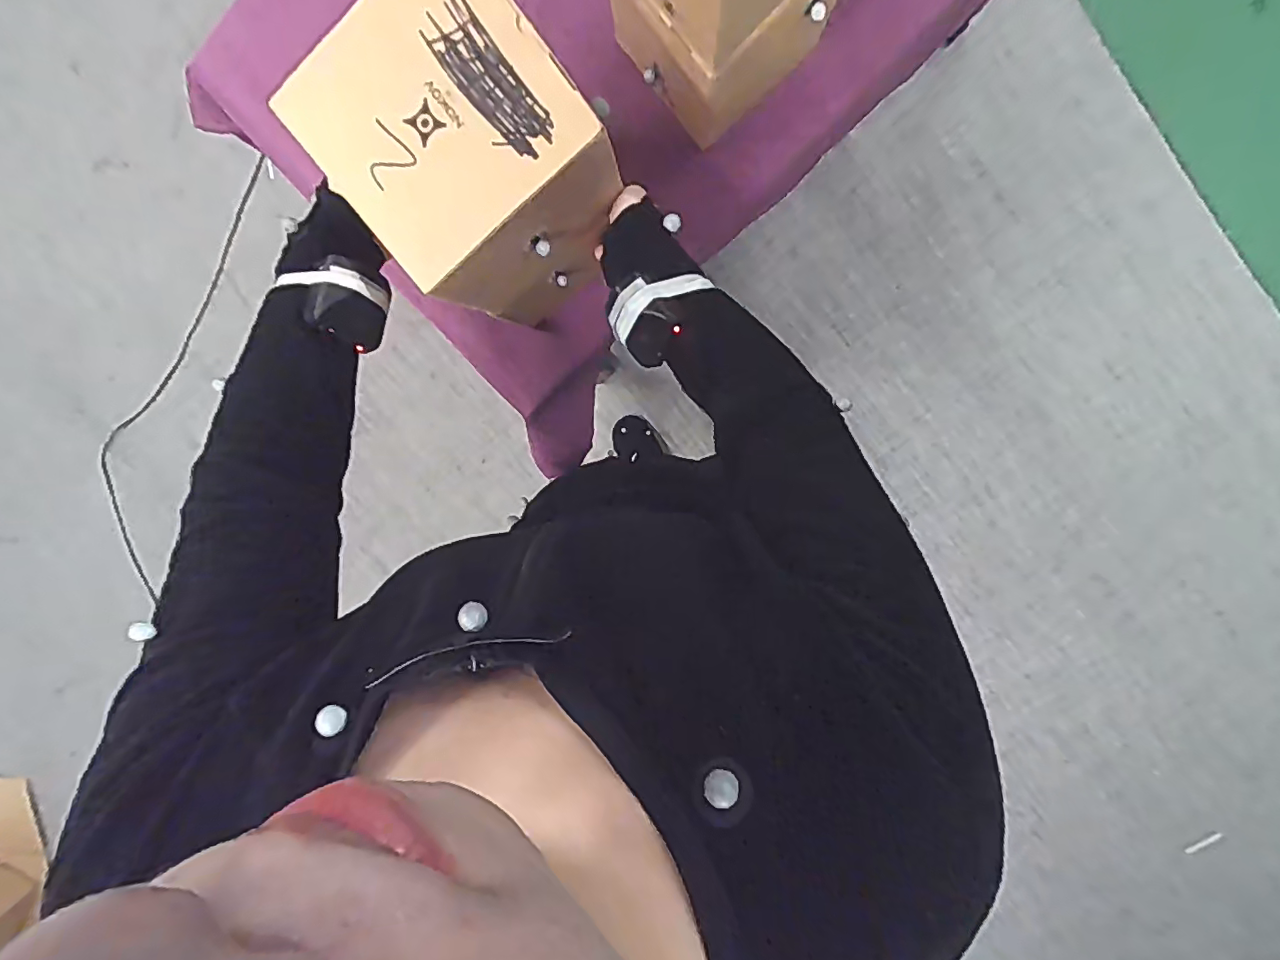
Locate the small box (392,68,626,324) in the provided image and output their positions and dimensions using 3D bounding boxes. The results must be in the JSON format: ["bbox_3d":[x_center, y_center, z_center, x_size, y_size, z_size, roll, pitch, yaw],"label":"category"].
[{"bbox_3d":[-0.131,-0.297,0.616,0.179,0.176,0.168,-35,98,9],"label":"small box"}]

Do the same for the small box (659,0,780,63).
[{"bbox_3d":[0.069,-0.472,0.398,0.179,0.176,0.168,-42,96,9],"label":"small box"}]

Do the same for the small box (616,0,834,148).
[{"bbox_3d":[0.084,-0.499,0.560,0.179,0.176,0.168,-39,96,10],"label":"small box"}]
